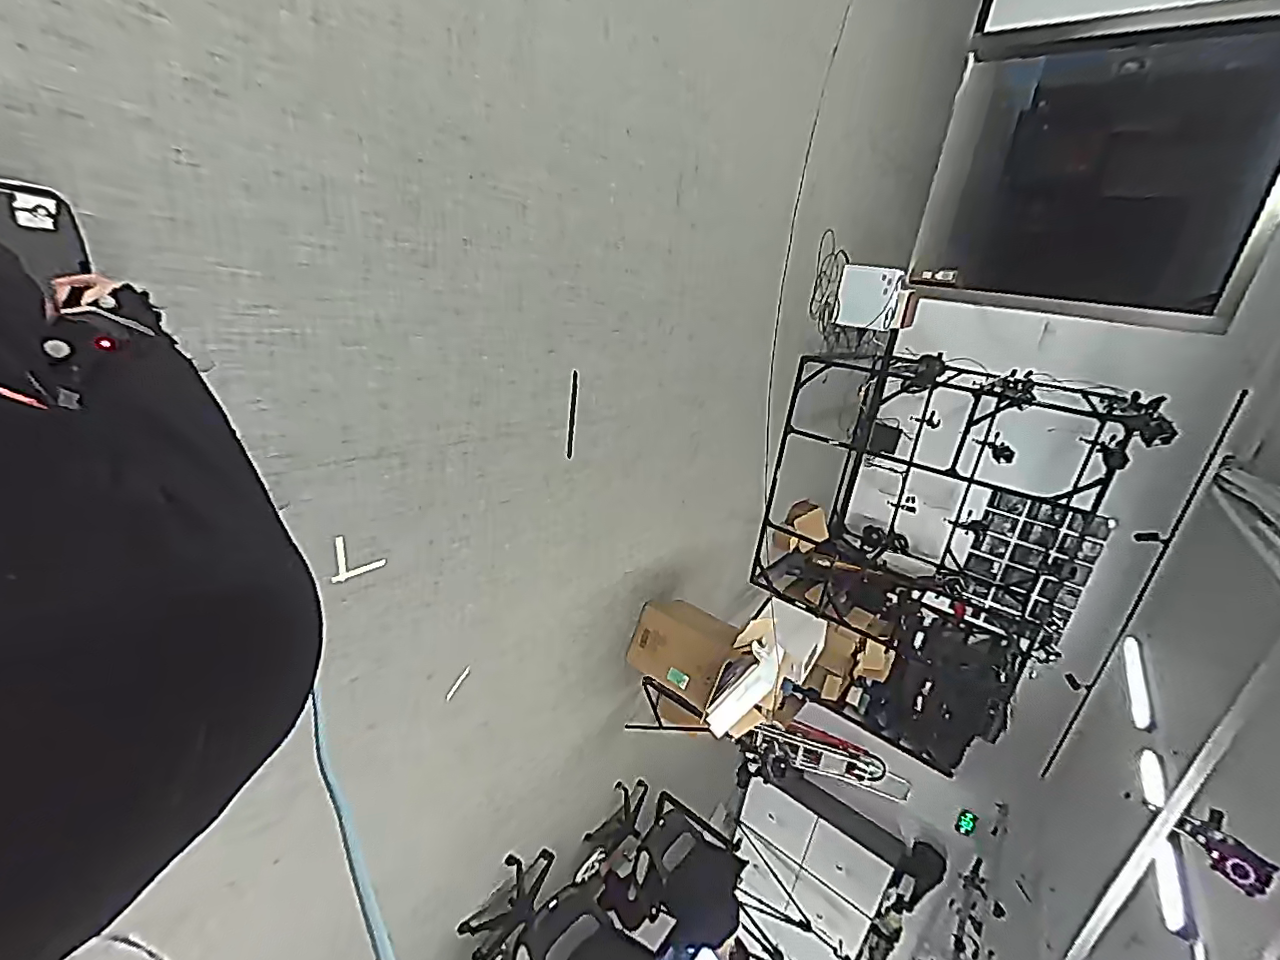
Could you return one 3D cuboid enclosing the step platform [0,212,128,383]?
[{"bbox_3d":[-1.227,-0.304,0.799,0.684,0.204,0.286,-11,116,-53],"label":"step platform"}]
